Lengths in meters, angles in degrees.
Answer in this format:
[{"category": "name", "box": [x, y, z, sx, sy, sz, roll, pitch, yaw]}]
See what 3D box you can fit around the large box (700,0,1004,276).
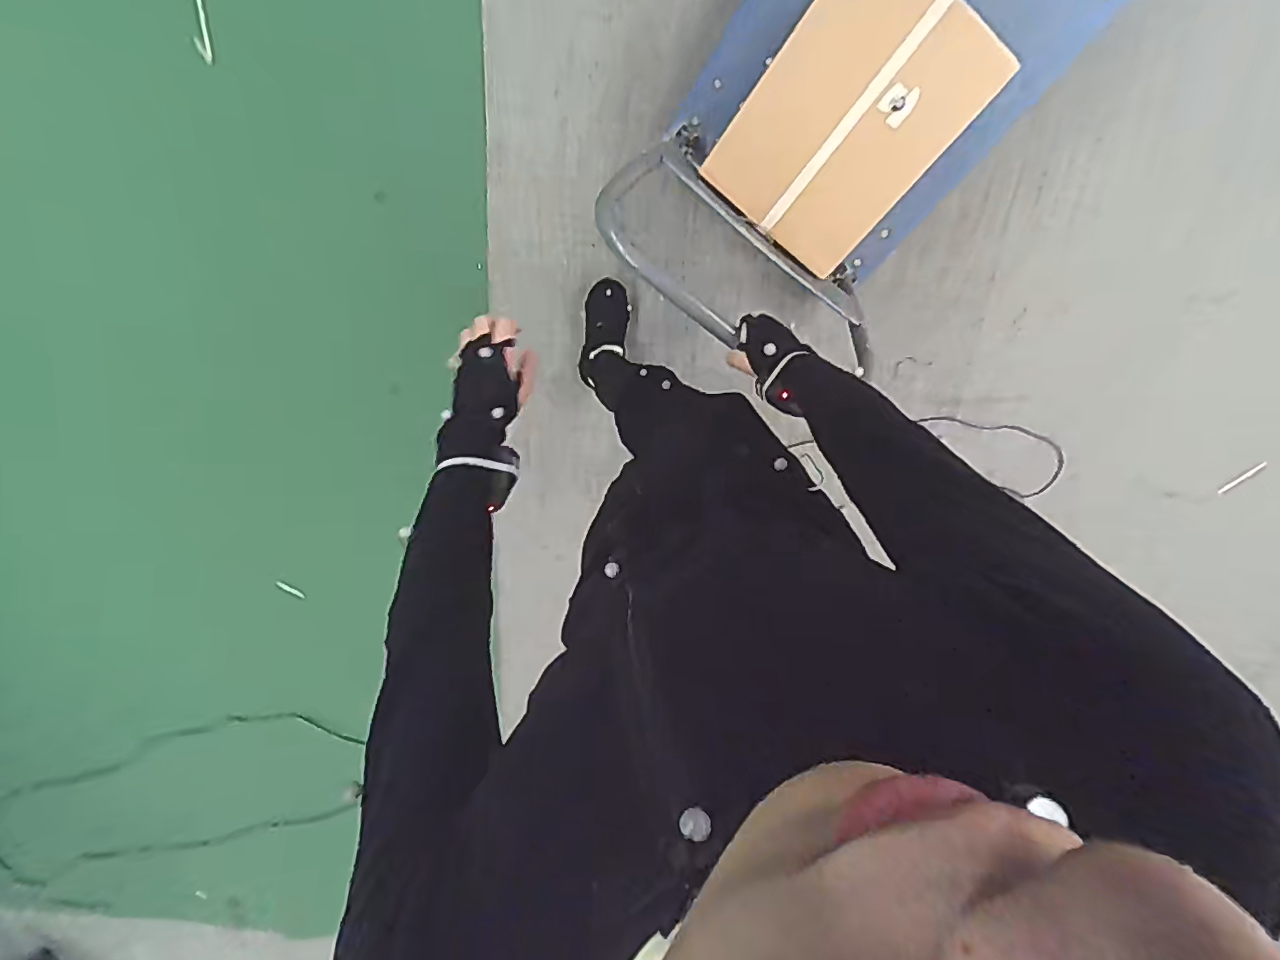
[{"category": "large box", "box": [0.368, -0.679, 1.043, 0.320, 0.320, 0.408, 36, 122, -11]}]
